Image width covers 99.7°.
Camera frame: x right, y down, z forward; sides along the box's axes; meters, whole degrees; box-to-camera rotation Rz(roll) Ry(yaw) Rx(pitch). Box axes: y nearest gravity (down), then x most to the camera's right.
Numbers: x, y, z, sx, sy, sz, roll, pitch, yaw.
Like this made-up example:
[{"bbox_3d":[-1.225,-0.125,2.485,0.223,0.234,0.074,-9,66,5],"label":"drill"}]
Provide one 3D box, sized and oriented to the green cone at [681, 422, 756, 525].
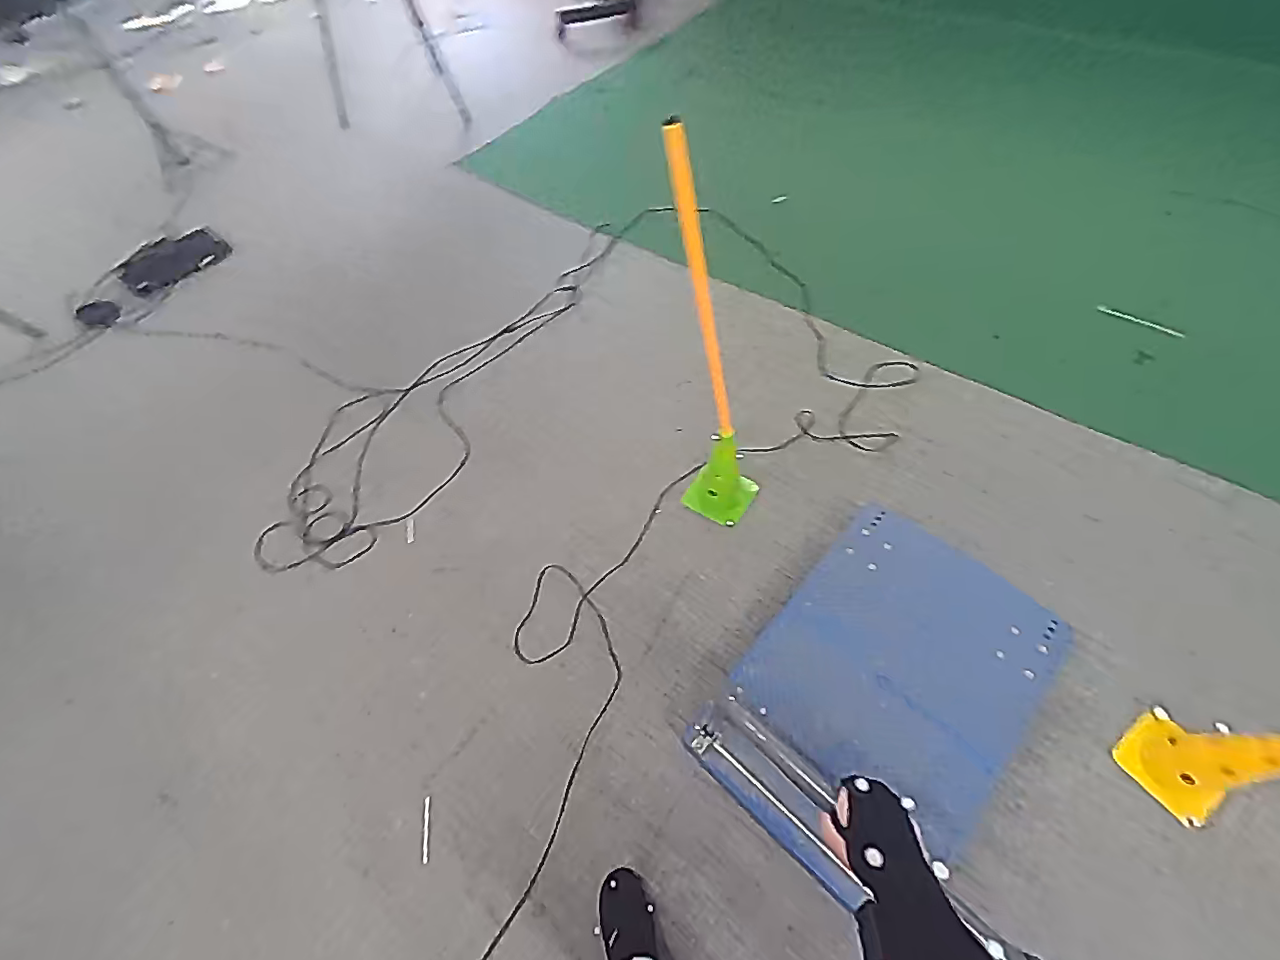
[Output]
[{"bbox_3d":[0.248,-0.052,1.672,0.202,0.368,0.200,26,63,21],"label":"green cone"}]
